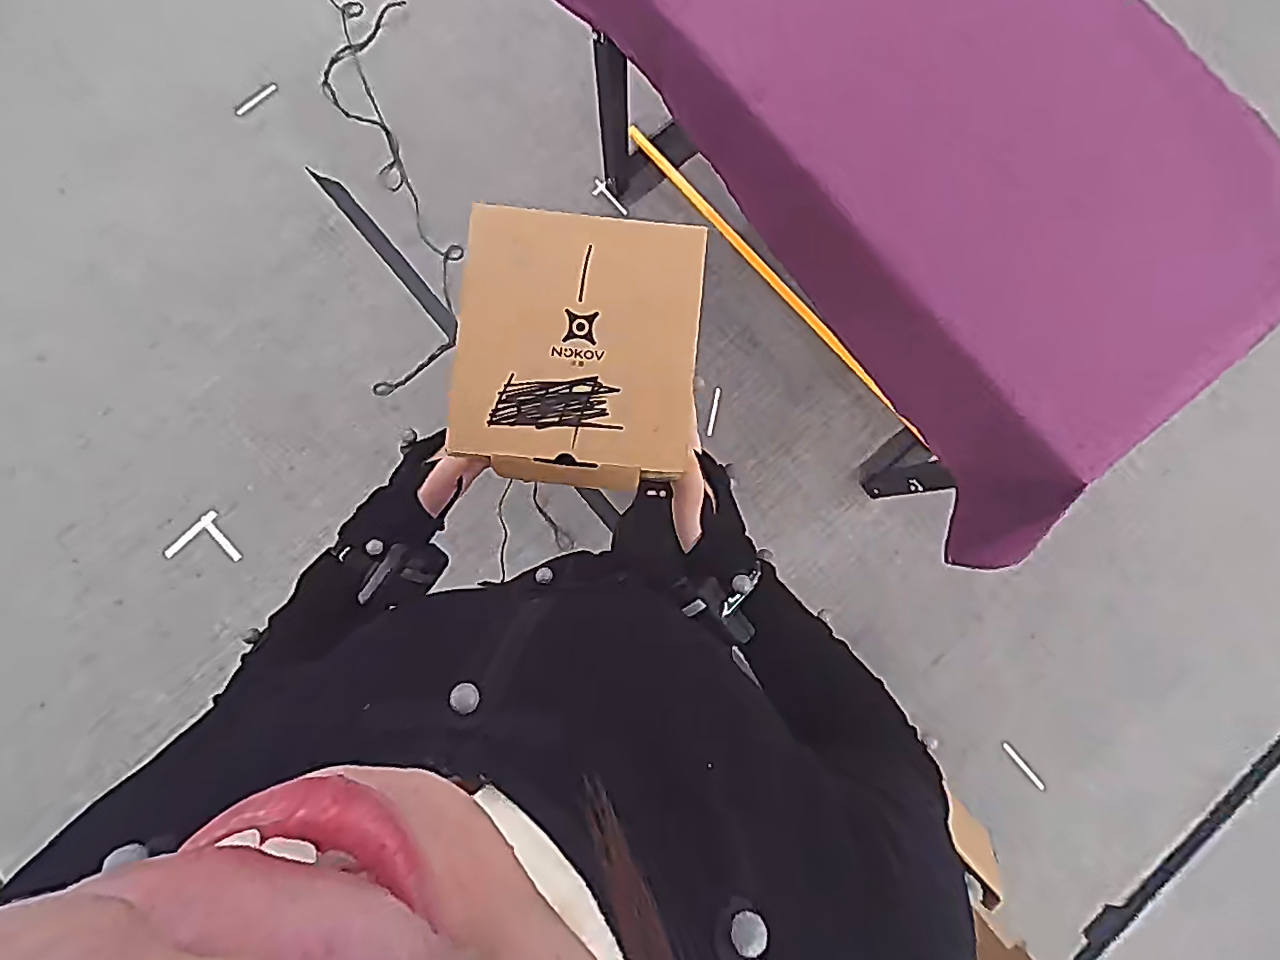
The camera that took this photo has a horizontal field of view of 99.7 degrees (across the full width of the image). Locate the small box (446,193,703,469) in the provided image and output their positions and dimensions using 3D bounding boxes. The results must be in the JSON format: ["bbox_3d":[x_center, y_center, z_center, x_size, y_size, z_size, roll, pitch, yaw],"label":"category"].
[{"bbox_3d":[-0.046,-0.103,0.451,0.168,0.176,0.179,5,89,-1],"label":"small box"}]

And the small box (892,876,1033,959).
[{"bbox_3d":[0.542,0.796,0.862,0.168,0.176,0.179,42,89,7],"label":"small box"}]

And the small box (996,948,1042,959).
[{"bbox_3d":[0.545,0.770,0.700,0.179,0.176,0.168,43,90,6],"label":"small box"}]
